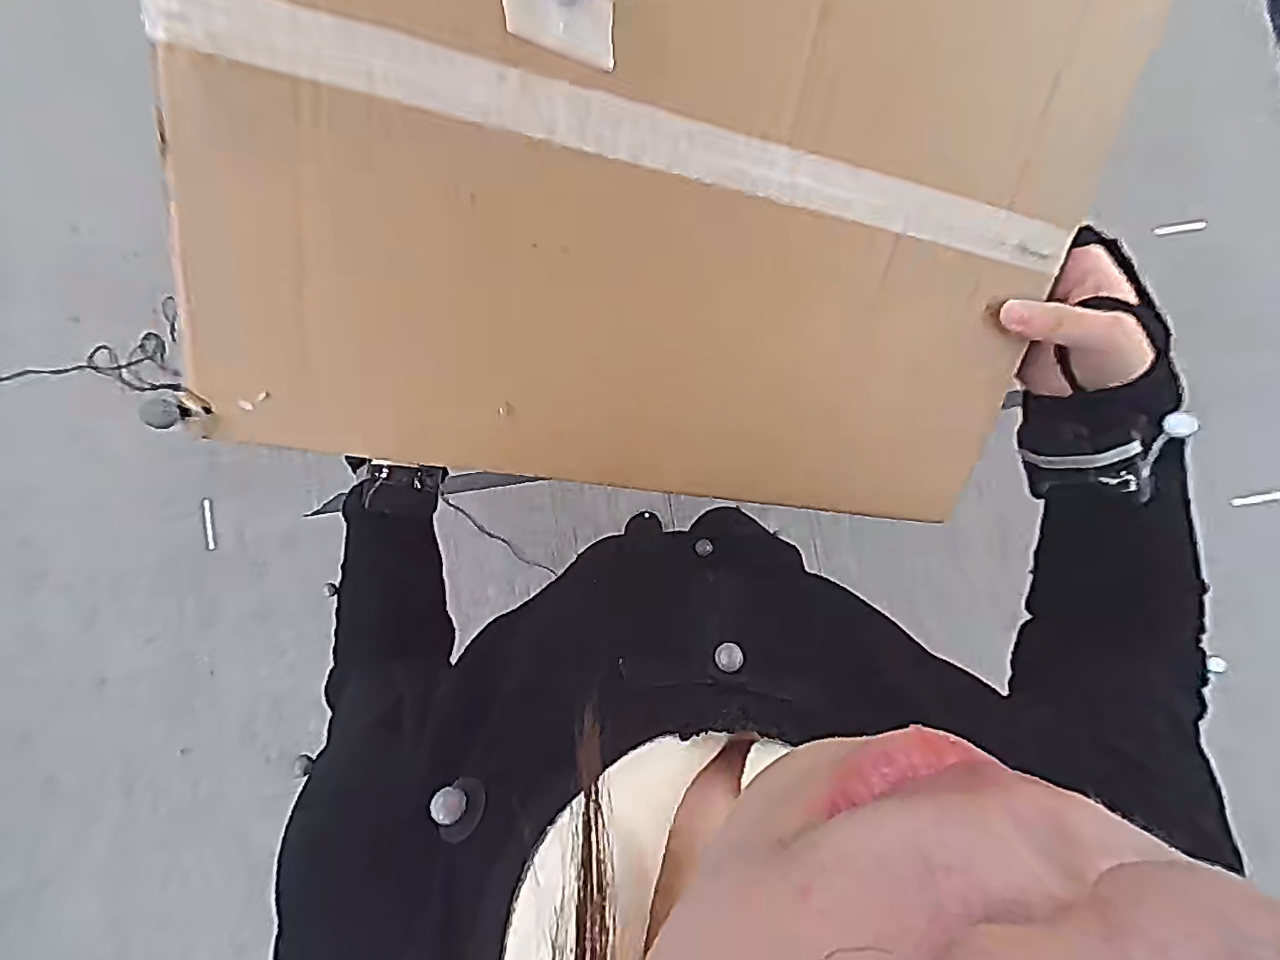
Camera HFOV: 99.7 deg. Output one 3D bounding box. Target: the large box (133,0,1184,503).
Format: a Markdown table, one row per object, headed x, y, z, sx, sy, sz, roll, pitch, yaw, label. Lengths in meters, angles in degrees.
| x | y | z | sx | sy | sz | roll | pitch | yaw | label |
| --- | --- | --- | --- | --- | --- | --- | --- | --- | --- |
| 0.001 | -0.202 | 0.358 | 0.408 | 0.320 | 0.320 | 7 | 110 | -13 | large box |
